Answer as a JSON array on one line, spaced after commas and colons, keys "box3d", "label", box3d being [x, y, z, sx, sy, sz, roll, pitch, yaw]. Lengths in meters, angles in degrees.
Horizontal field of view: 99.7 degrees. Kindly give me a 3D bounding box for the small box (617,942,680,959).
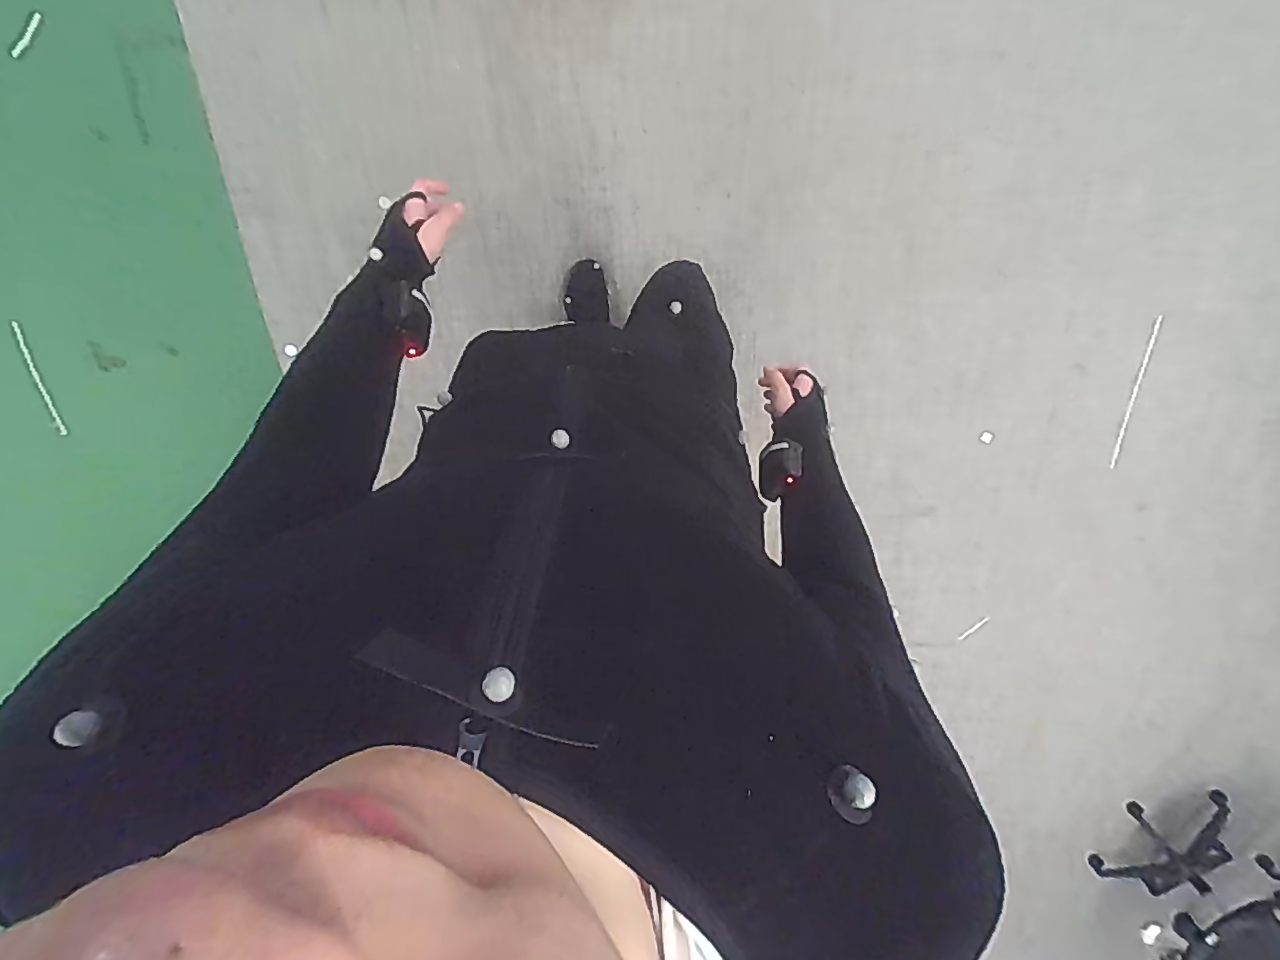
[{"box3d": [0.027, 1.322, 1.385, 0.168, 0.176, 0.179, -4, 114, -1], "label": "small box"}]
